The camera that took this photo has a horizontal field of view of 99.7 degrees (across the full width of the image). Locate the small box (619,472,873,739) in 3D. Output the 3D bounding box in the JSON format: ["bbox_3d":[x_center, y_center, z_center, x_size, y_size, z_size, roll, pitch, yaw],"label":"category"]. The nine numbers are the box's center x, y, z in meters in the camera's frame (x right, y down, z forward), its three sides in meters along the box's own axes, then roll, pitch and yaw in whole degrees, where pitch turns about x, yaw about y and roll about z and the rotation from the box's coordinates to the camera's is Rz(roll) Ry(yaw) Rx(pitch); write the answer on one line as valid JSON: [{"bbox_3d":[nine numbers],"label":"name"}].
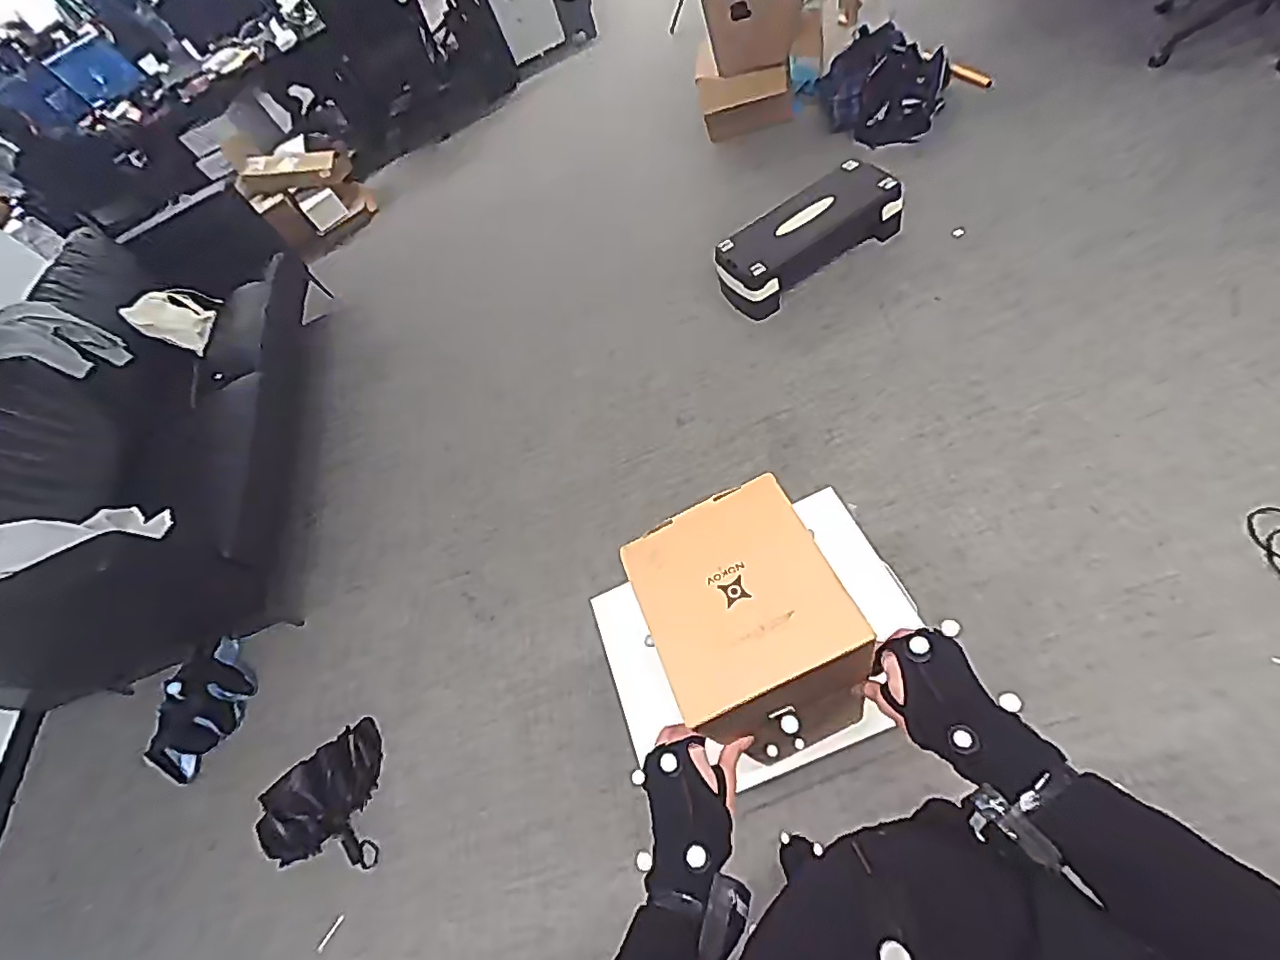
[{"bbox_3d":[0.103,0.130,0.533,0.168,0.176,0.179,-28,55,3],"label":"small box"}]

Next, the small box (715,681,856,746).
[{"bbox_3d":[0.151,0.210,0.667,0.168,0.176,0.179,-27,53,3],"label":"small box"}]

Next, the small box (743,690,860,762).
[{"bbox_3d":[0.202,0.292,0.801,0.168,0.176,0.179,-29,54,3],"label":"small box"}]
